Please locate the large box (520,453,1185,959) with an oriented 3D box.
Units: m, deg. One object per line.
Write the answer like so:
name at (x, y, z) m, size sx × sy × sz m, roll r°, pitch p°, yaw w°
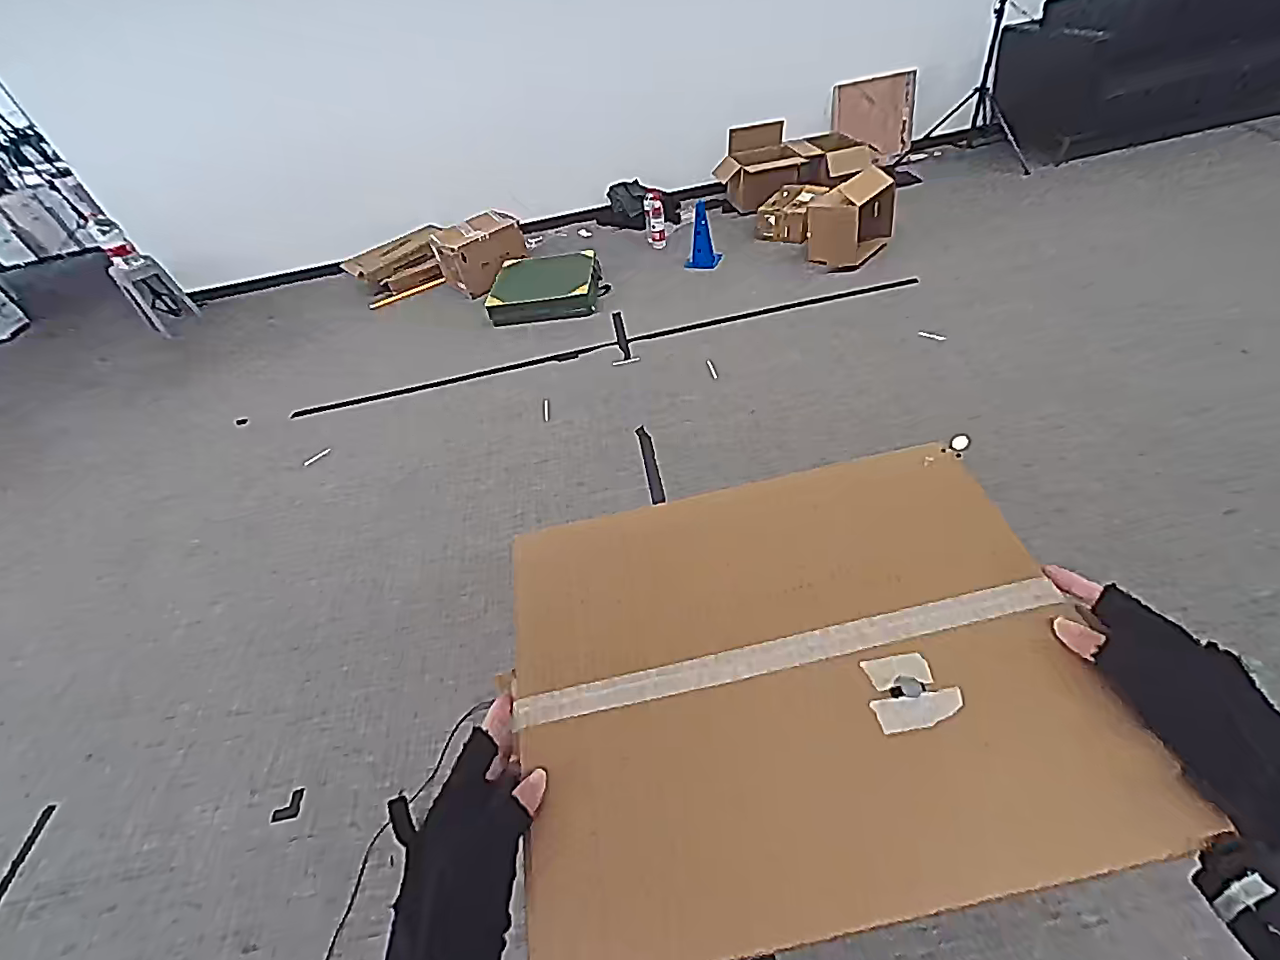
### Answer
large box at (0.126, 0.225, 0.527) m, size 0.408 × 0.320 × 0.320 m, roll -13°, pitch 52°, yaw -1°
